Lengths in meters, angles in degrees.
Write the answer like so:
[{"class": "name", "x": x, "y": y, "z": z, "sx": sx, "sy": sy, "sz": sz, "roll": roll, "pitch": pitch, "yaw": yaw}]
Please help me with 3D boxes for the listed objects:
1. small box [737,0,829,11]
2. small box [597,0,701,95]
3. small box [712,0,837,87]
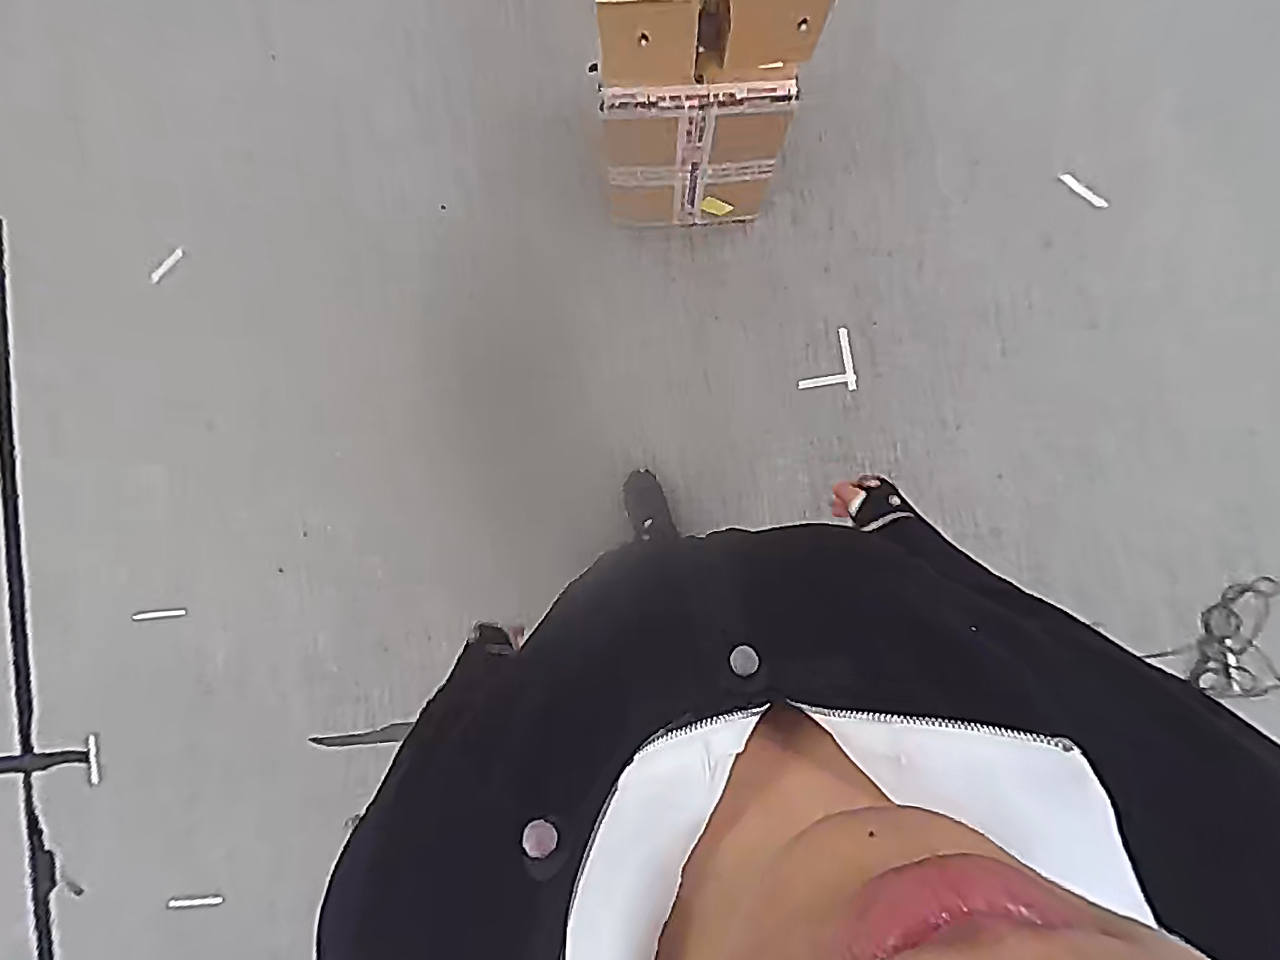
[{"class": "small box", "x": 0.231, "y": -0.872, "z": 0.820, "sx": 0.168, "sy": 0.176, "sz": 0.179, "roll": -5, "pitch": 88, "yaw": 0}, {"class": "small box", "x": 0.019, "y": -0.841, "z": 0.988, "sx": 0.179, "sy": 0.176, "sz": 0.168, "roll": 1, "pitch": 90, "yaw": 3}, {"class": "small box", "x": 0.235, "y": -0.861, "z": 0.983, "sx": 0.179, "sy": 0.176, "sz": 0.168, "roll": -7, "pitch": 89, "yaw": 0}]
